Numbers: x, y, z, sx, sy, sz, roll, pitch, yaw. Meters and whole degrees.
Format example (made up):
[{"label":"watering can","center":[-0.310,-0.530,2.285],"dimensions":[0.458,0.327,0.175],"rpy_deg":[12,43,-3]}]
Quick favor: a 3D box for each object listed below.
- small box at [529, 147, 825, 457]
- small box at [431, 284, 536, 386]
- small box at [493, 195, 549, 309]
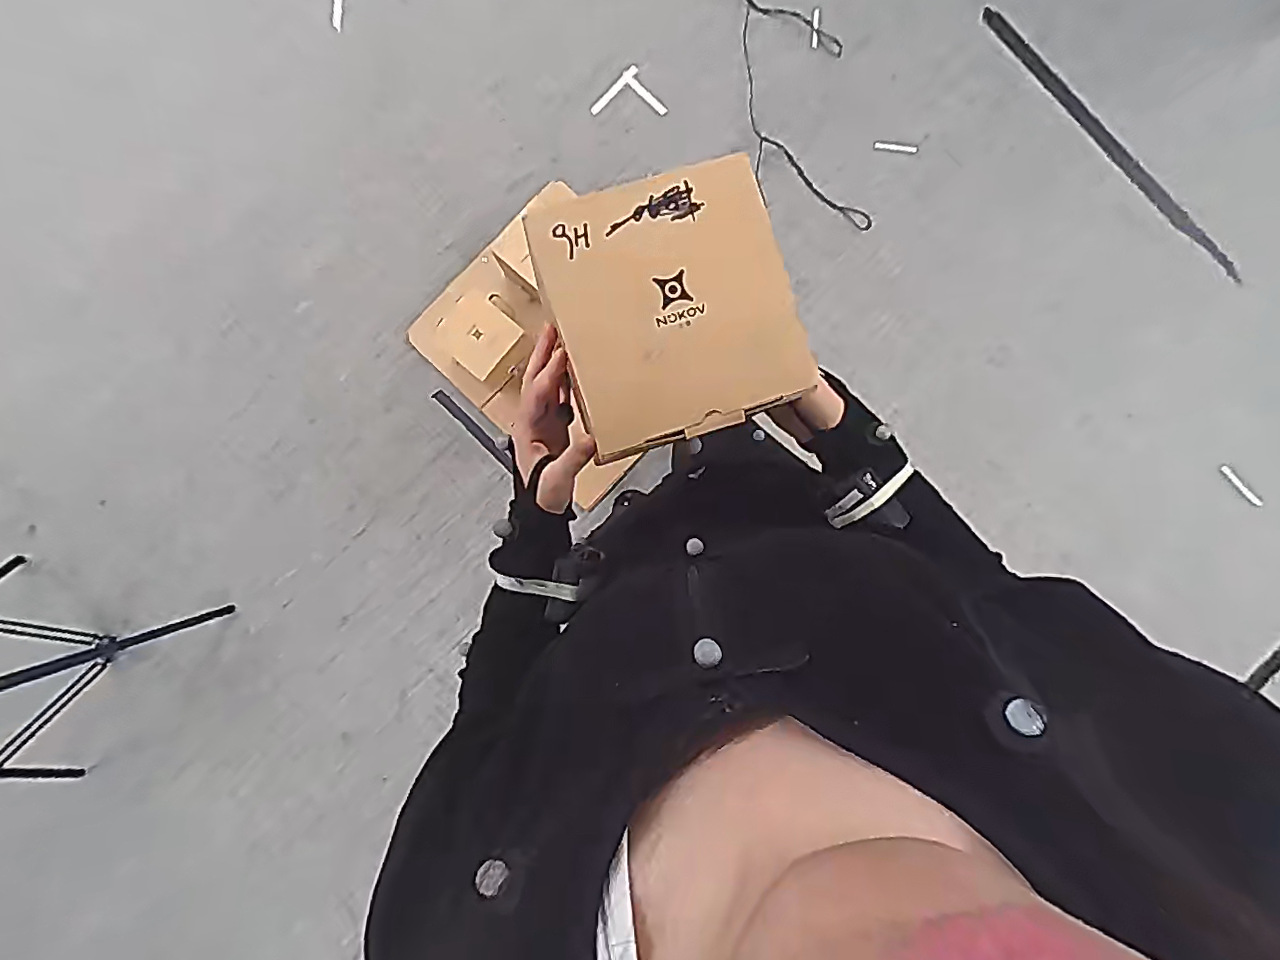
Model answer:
[{"label":"small box","center":[0.020,-0.123,0.445],"dimensions":[0.168,0.176,0.179],"rpy_deg":[-18,92,-7]},{"label":"small box","center":[-0.393,-0.361,1.389],"dimensions":[0.179,0.176,0.168],"rpy_deg":[39,91,-2]},{"label":"small box","center":[-0.246,-0.576,1.388],"dimensions":[0.168,0.176,0.179],"rpy_deg":[40,90,-1]}]
